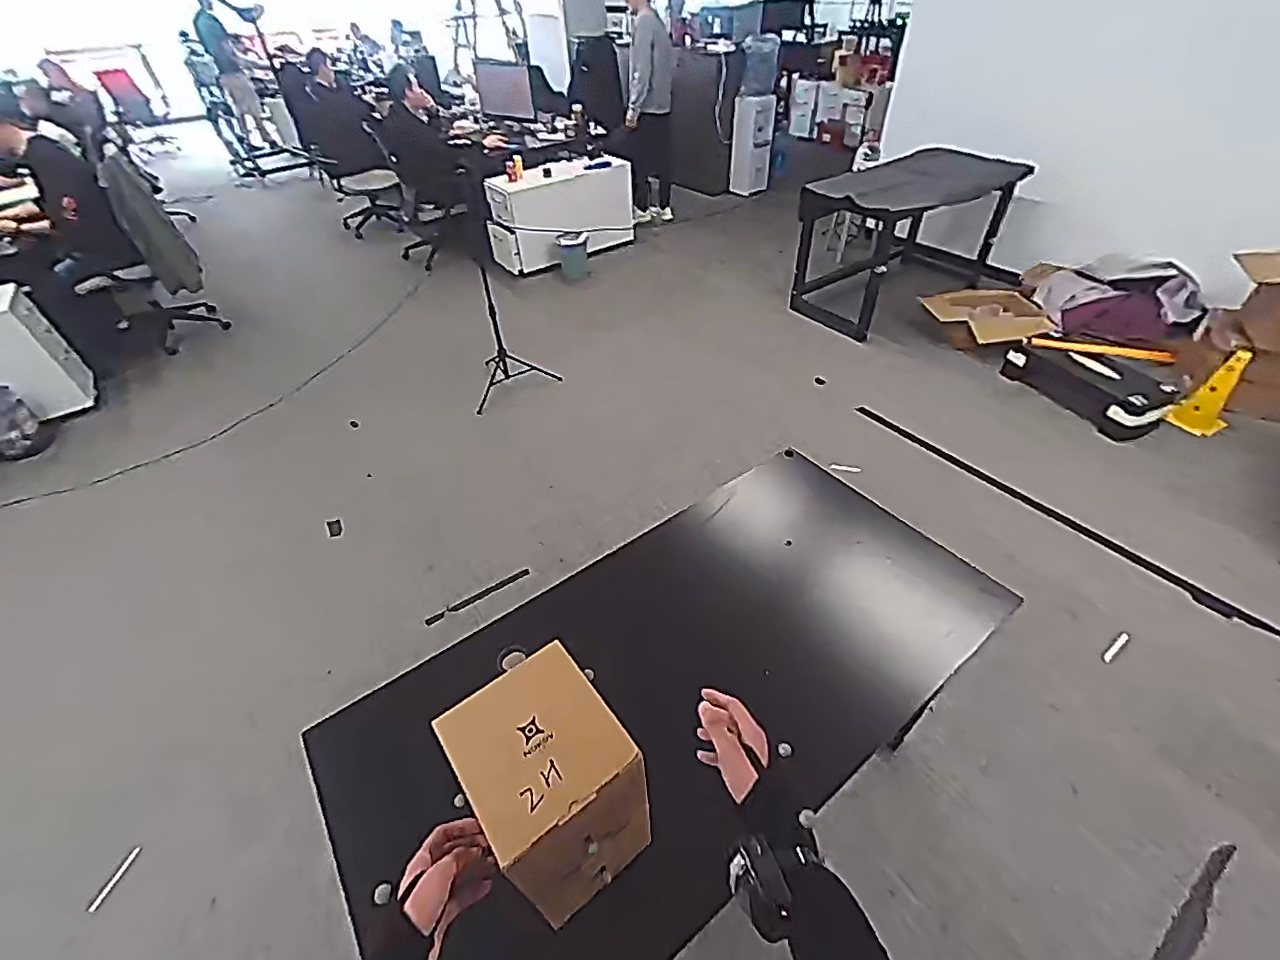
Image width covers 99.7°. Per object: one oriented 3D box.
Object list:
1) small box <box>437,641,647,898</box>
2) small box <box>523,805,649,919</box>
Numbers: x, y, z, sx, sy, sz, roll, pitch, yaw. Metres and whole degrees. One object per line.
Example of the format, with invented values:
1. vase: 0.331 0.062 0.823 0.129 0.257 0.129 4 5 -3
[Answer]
1. small box: -0.107 0.333 0.628 0.168 0.176 0.179 -29 49 -24
2. small box: -0.099 0.455 0.739 0.168 0.176 0.179 -29 49 -25
